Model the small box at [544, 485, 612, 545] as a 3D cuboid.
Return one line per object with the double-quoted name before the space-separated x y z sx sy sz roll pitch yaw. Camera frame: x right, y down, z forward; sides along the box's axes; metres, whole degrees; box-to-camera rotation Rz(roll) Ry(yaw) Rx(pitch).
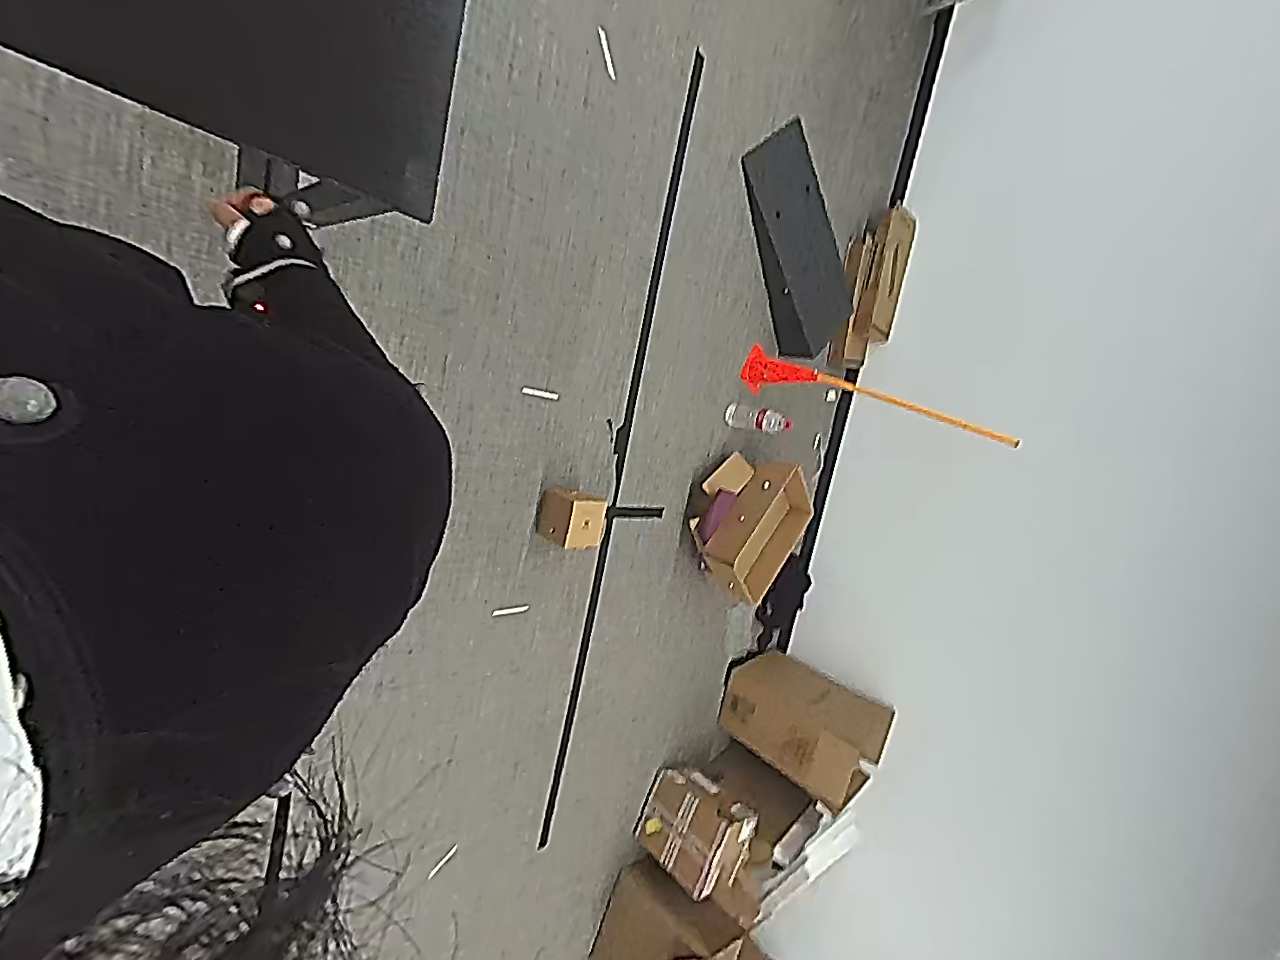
"small box" -0.229 0.125 1.967 0.168 0.176 0.179 2 102 -48
